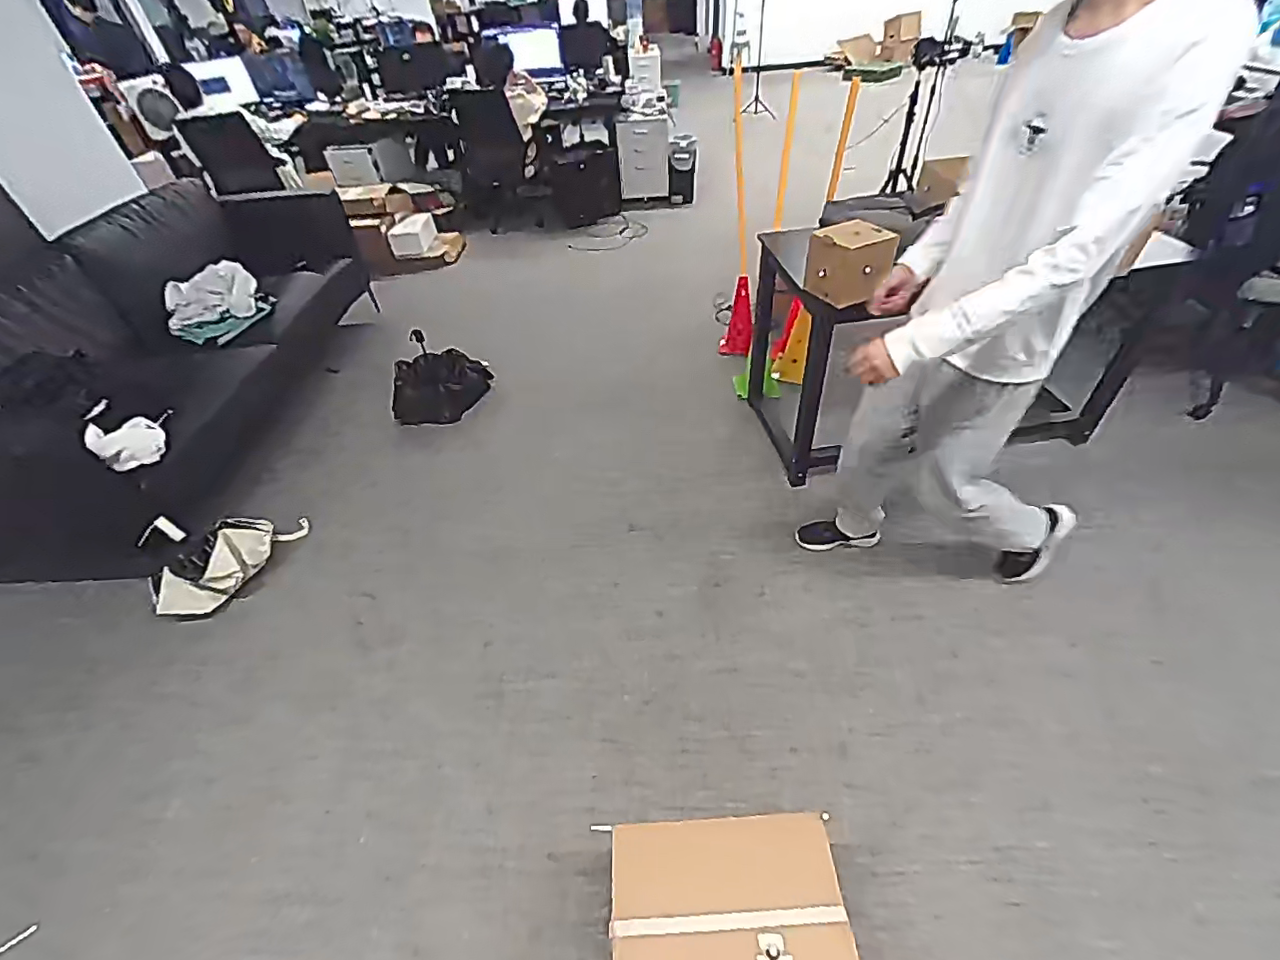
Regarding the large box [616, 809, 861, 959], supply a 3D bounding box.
[{"bbox_3d":[0.170,0.863,1.030,0.408,0.320,0.320,-5,44,2],"label":"large box"}]
